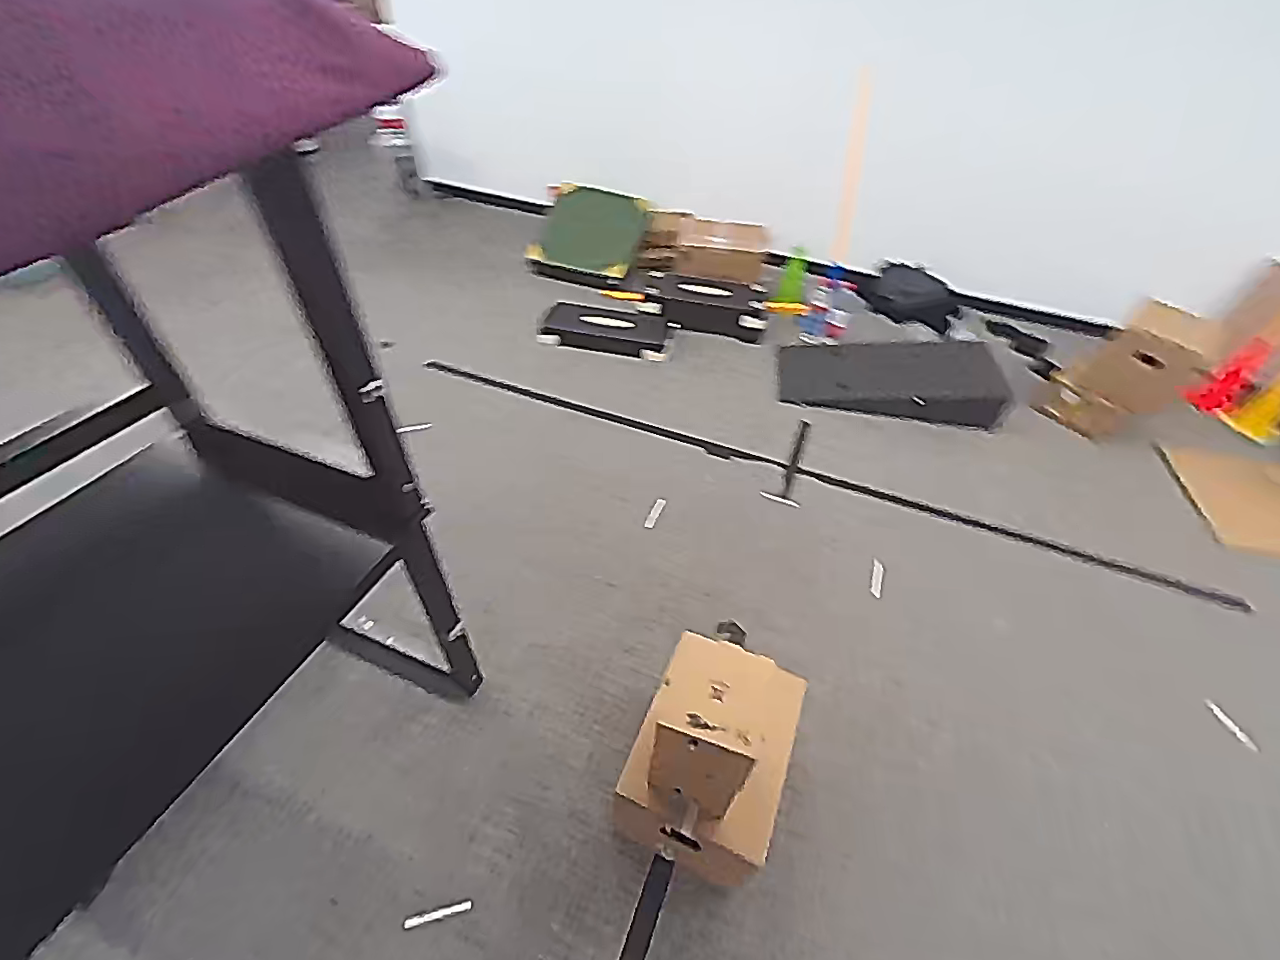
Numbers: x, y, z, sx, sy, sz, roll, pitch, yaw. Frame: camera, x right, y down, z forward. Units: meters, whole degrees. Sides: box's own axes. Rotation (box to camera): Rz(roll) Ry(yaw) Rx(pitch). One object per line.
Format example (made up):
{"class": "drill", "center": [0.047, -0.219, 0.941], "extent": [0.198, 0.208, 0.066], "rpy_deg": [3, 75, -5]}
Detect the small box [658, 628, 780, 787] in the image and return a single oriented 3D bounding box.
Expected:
{"class": "small box", "center": [0.134, 0.399, 0.950], "extent": [0.168, 0.176, 0.179], "rpy_deg": [16, 45, 13]}

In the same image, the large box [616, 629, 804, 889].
{"class": "large box", "center": [0.161, 0.649, 1.279], "extent": [0.320, 0.320, 0.408], "rpy_deg": [21, 47, 14]}

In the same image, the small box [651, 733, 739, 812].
{"class": "small box", "center": [0.127, 0.513, 1.067], "extent": [0.168, 0.176, 0.179], "rpy_deg": [18, 48, 15]}
